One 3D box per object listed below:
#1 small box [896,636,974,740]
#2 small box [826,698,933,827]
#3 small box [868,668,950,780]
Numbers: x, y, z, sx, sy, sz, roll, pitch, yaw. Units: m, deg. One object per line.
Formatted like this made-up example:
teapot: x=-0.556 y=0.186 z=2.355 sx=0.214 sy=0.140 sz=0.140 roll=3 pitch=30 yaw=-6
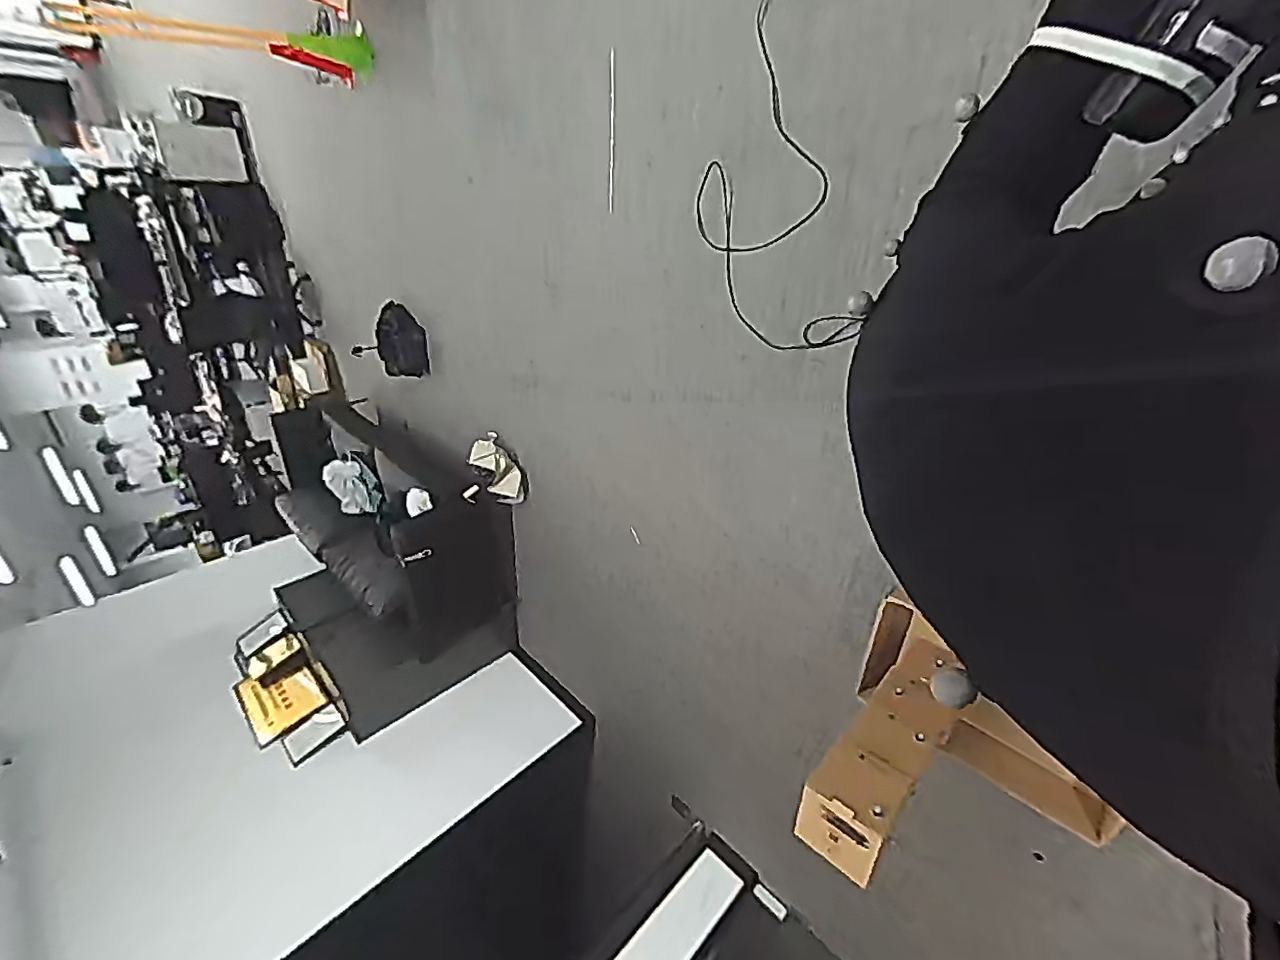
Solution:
small box: x=0.810 y=0.570 z=1.507 sx=0.168 sy=0.176 sz=0.179 roll=20 pitch=123 yaw=37
small box: x=0.577 y=0.666 z=1.296 sx=0.168 sy=0.176 sz=0.179 roll=27 pitch=126 yaw=36
small box: x=0.676 y=0.625 z=1.396 sx=0.168 sy=0.176 sz=0.179 roll=25 pitch=125 yaw=36
